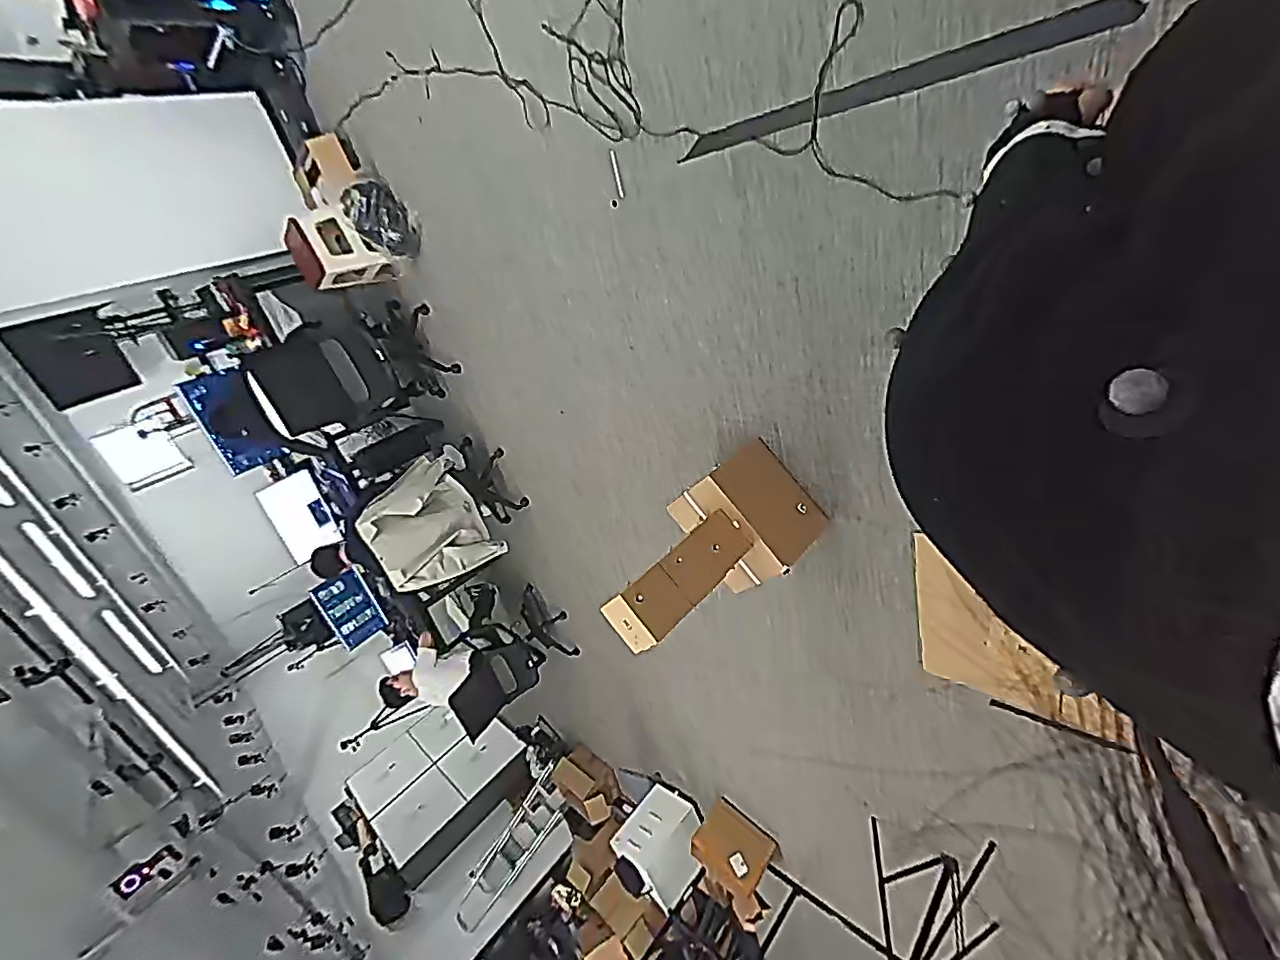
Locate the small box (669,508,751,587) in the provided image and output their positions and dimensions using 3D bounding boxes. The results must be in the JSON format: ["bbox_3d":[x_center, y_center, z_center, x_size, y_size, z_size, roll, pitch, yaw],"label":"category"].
[{"bbox_3d":[0.238,0.223,1.814,0.179,0.176,0.168,51,144,7],"label":"small box"}]

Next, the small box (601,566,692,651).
[{"bbox_3d":[0.020,0.378,1.621,0.179,0.176,0.168,51,145,6],"label":"small box"}]

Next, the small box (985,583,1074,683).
[{"bbox_3d":[1.088,0.418,1.509,0.168,0.176,0.179,15,129,39],"label":"small box"}]
